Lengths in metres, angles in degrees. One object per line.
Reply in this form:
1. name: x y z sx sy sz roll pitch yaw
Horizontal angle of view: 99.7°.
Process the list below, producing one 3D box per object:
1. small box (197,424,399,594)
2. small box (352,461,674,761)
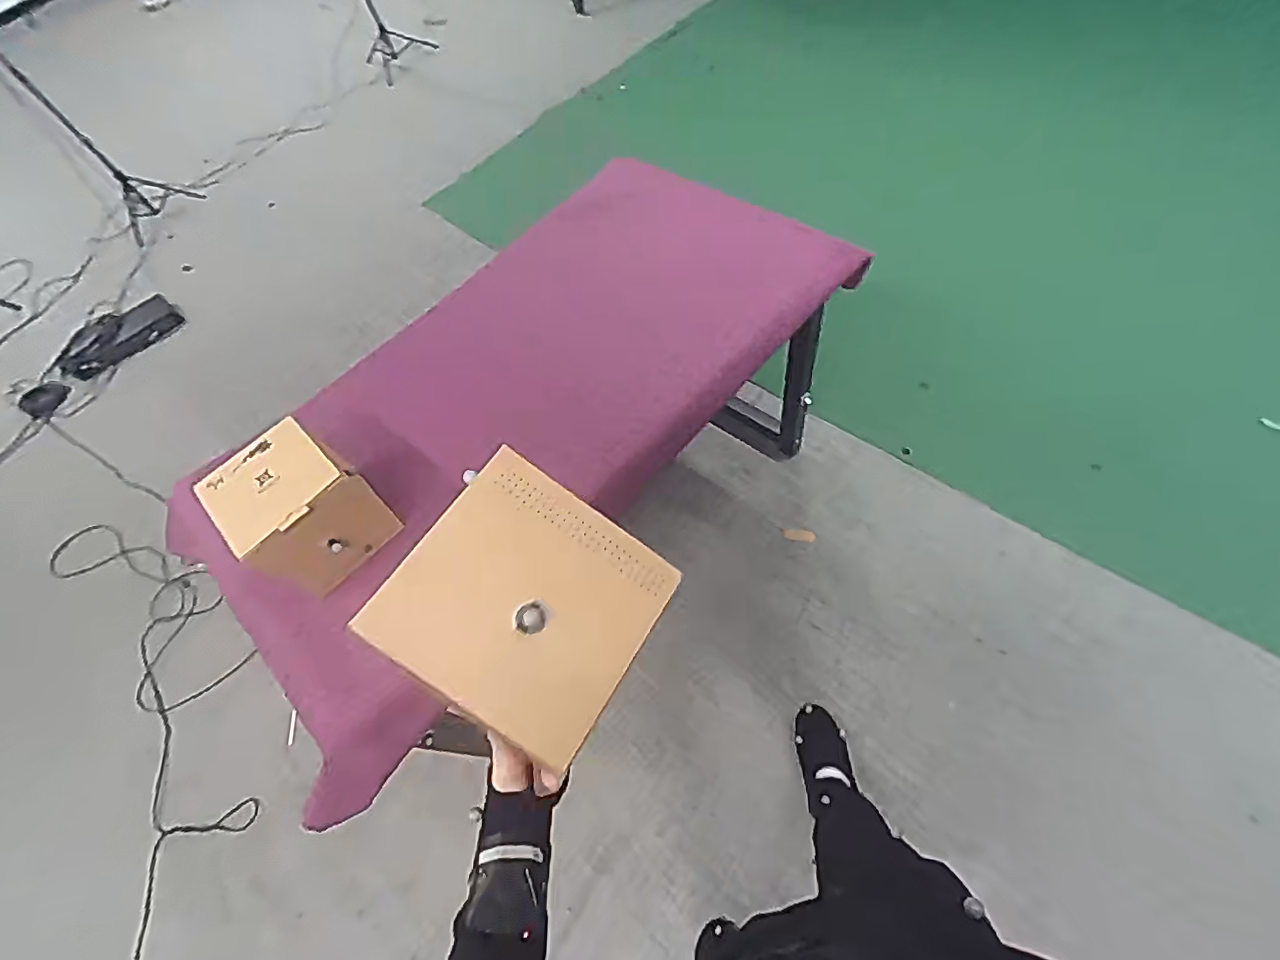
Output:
1. small box: -0.512 0.054 0.831 0.179 0.176 0.168 38 72 26
2. small box: -0.102 0.104 0.464 0.179 0.168 0.176 35 65 -3
